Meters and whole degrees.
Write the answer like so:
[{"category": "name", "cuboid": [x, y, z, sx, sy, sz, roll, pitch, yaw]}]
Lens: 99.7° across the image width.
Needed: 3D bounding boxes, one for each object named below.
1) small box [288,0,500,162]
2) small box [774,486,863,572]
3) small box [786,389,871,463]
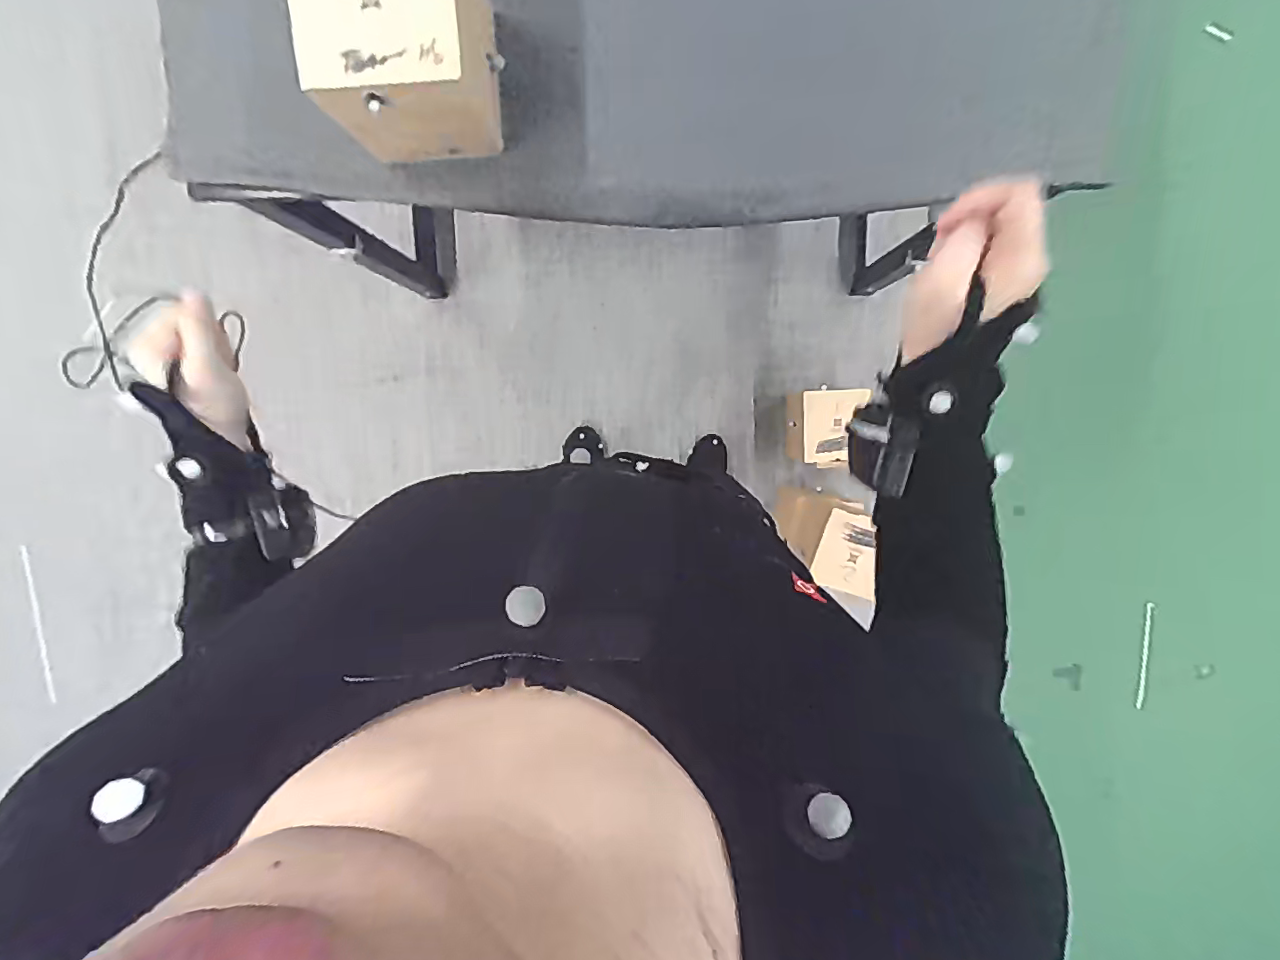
[{"category": "small box", "cuboid": [-0.264, -0.492, 0.610, 0.168, 0.176, 0.179, -3, 97, 1]}, {"category": "small box", "cuboid": [0.457, 0.122, 1.410, 0.168, 0.176, 0.179, 8, 98, 0]}, {"category": "small box", "cuboid": [0.473, -0.140, 1.376, 0.168, 0.176, 0.179, -2, 96, 1]}]
